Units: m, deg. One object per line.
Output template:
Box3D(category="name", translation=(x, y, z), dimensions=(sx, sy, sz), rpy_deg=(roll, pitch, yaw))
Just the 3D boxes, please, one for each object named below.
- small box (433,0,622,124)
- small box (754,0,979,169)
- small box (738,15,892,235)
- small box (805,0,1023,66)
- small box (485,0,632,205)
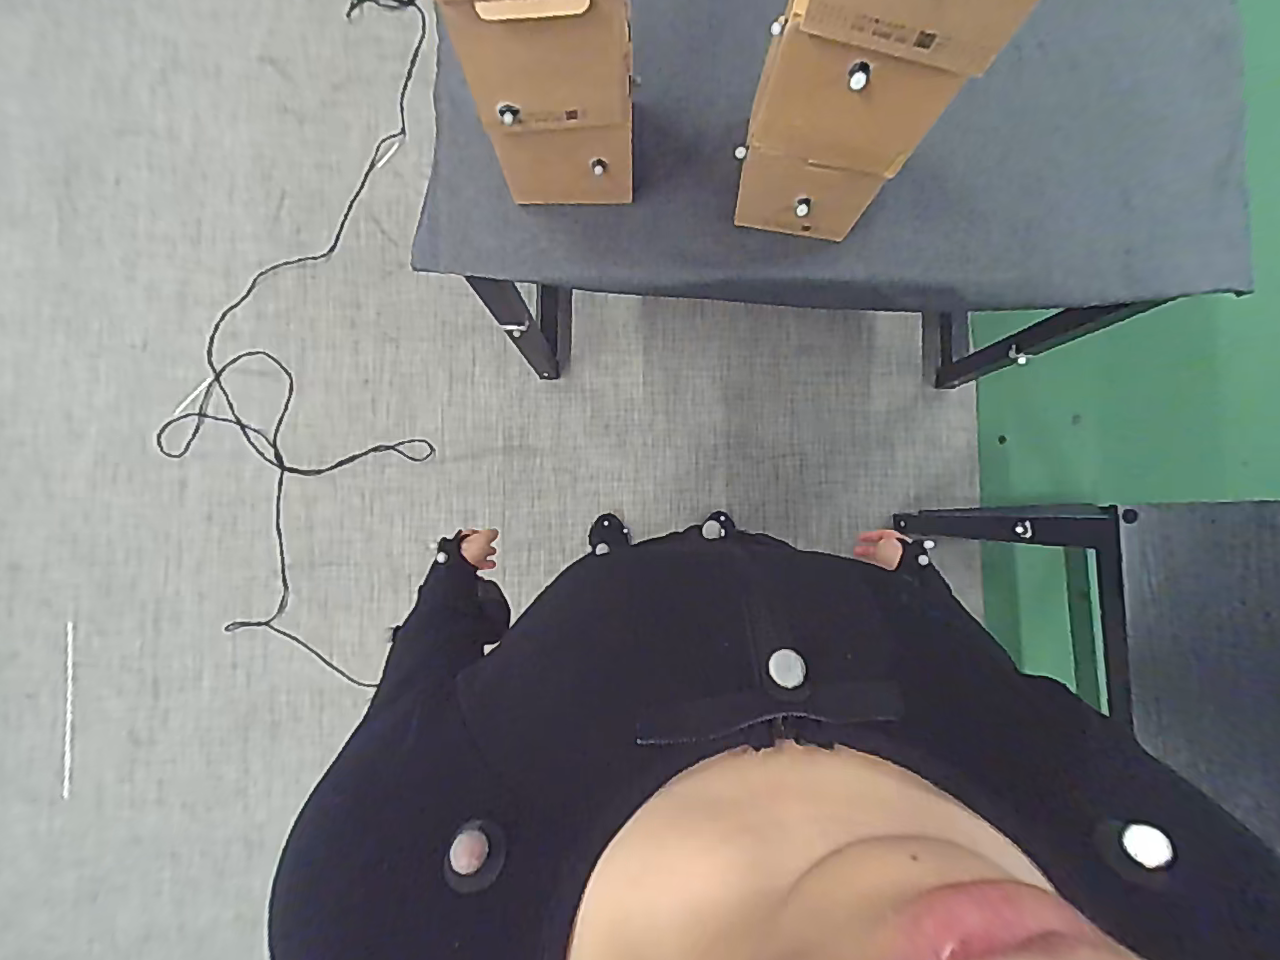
Box3D(category="small box", translation=(-0.109, -0.506, 0.564), dimensions=(0.168, 0.176, 0.179), rpy_deg=(-5, 84, -1))
Box3D(category="small box", translation=(0.234, -0.459, 0.559), dimensions=(0.179, 0.176, 0.168), rpy_deg=(14, 86, 2))
Box3D(category="small box", translation=(0.232, -0.456, 0.722), dimensions=(0.168, 0.176, 0.179), rpy_deg=(9, 86, 1))
Box3D(category="small box", translation=(0.234, -0.458, 0.393), dimensions=(0.168, 0.176, 0.179), rpy_deg=(16, 86, 2))
Box3D(category="small box", translation=(-0.098, -0.495, 0.728), dimensions=(0.179, 0.176, 0.168), rpy_deg=(-1, 85, 1))
